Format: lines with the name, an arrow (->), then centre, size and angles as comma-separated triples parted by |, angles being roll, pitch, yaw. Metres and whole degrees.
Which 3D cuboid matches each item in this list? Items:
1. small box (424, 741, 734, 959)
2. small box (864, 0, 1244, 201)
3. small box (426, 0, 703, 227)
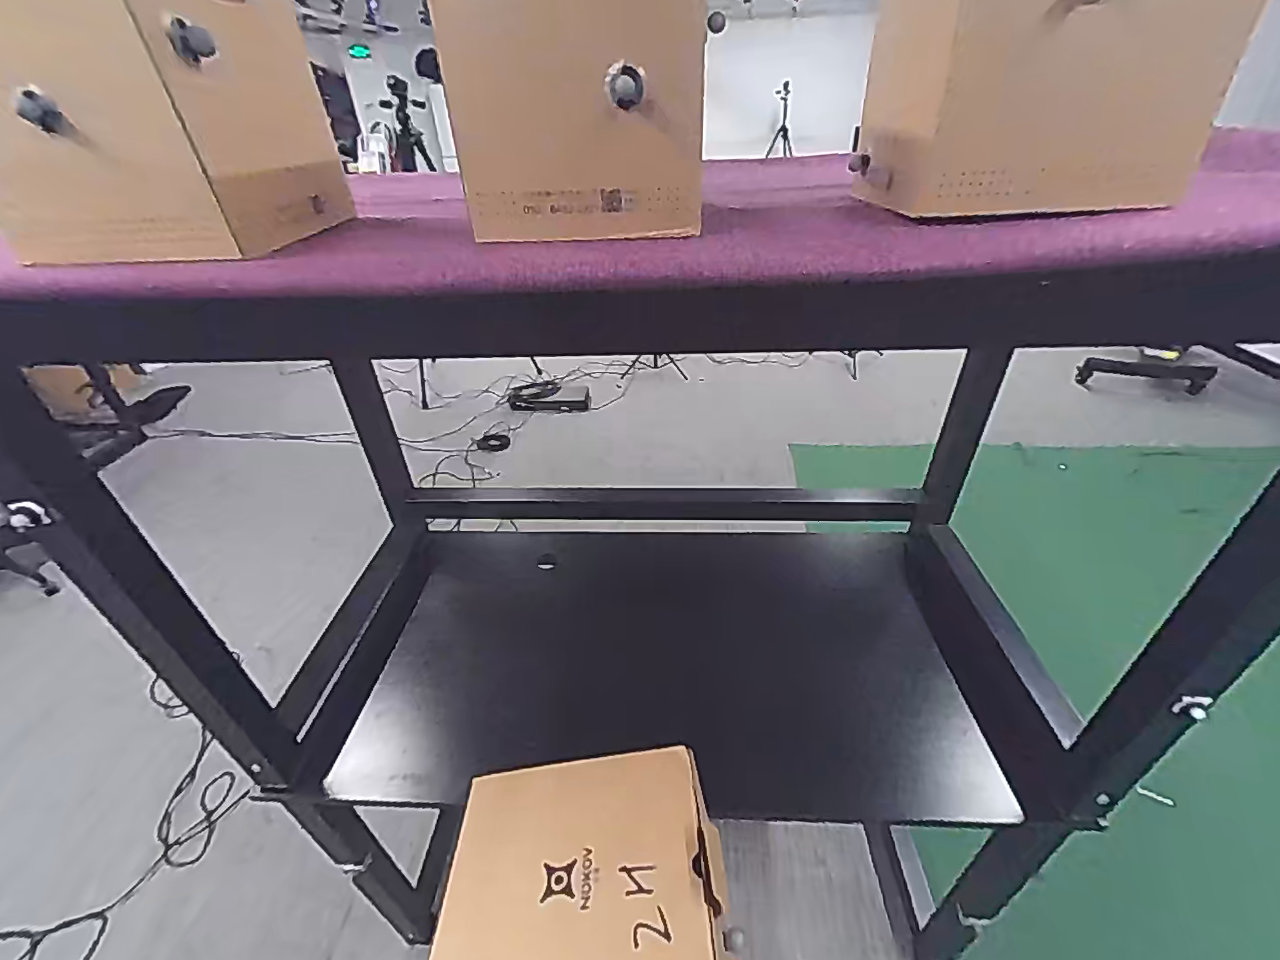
small box -> -0.028, 0.319, 0.381 | 0.179, 0.176, 0.168 | -10, 29, 4
small box -> 0.276, -0.303, 0.389 | 0.179, 0.176, 0.168 | -1, 33, 3
small box -> -0.037, -0.292, 0.404 | 0.168, 0.176, 0.179 | 1, 35, 5
